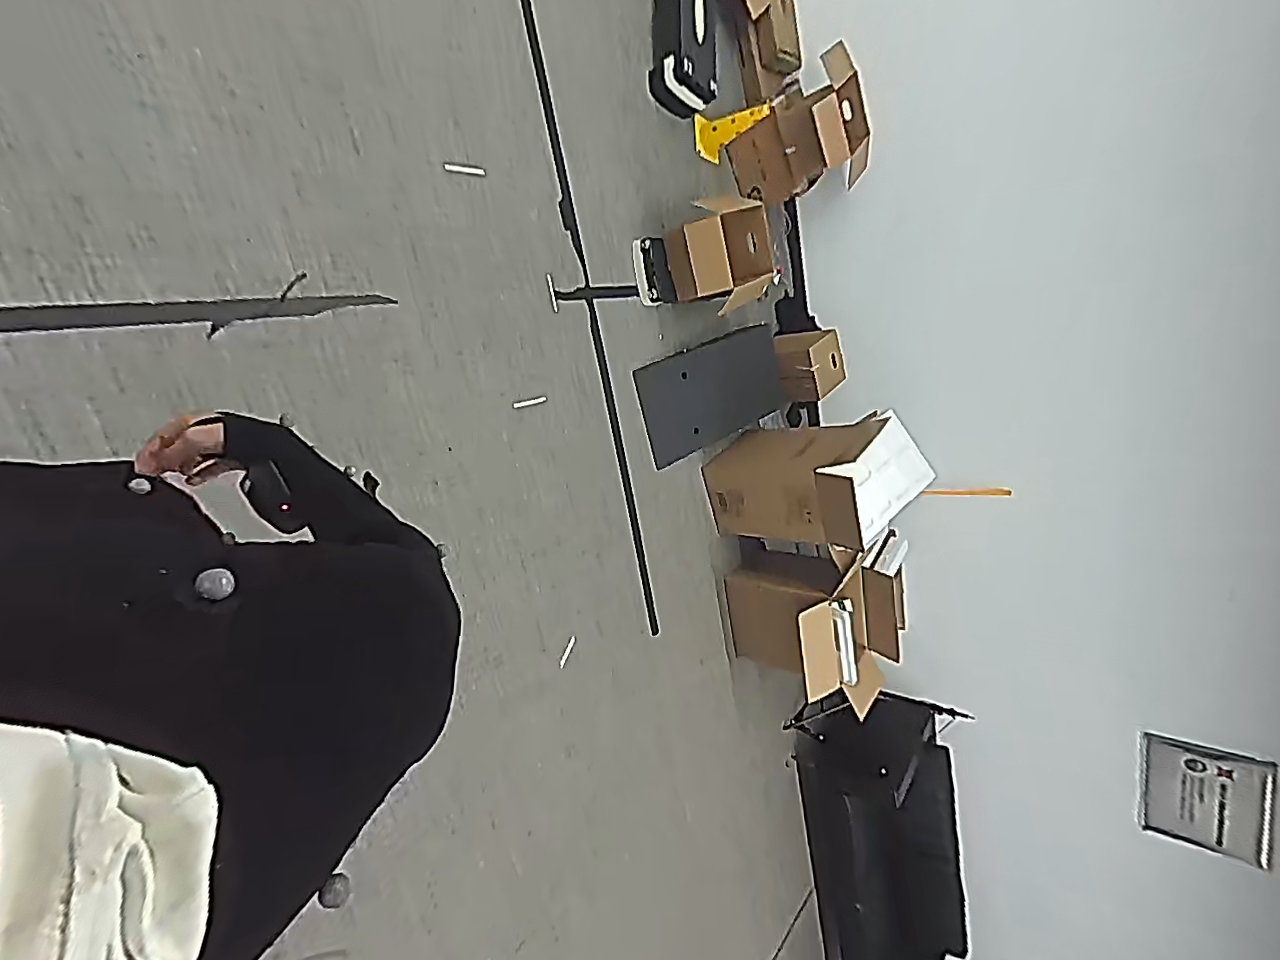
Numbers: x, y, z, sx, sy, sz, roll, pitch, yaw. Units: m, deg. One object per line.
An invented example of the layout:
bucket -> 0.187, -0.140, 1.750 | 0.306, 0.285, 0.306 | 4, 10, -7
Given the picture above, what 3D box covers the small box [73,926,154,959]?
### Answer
small box -> -1.112, 1.080, 1.099 | 0.179, 0.176, 0.168 | -32, 114, -42
